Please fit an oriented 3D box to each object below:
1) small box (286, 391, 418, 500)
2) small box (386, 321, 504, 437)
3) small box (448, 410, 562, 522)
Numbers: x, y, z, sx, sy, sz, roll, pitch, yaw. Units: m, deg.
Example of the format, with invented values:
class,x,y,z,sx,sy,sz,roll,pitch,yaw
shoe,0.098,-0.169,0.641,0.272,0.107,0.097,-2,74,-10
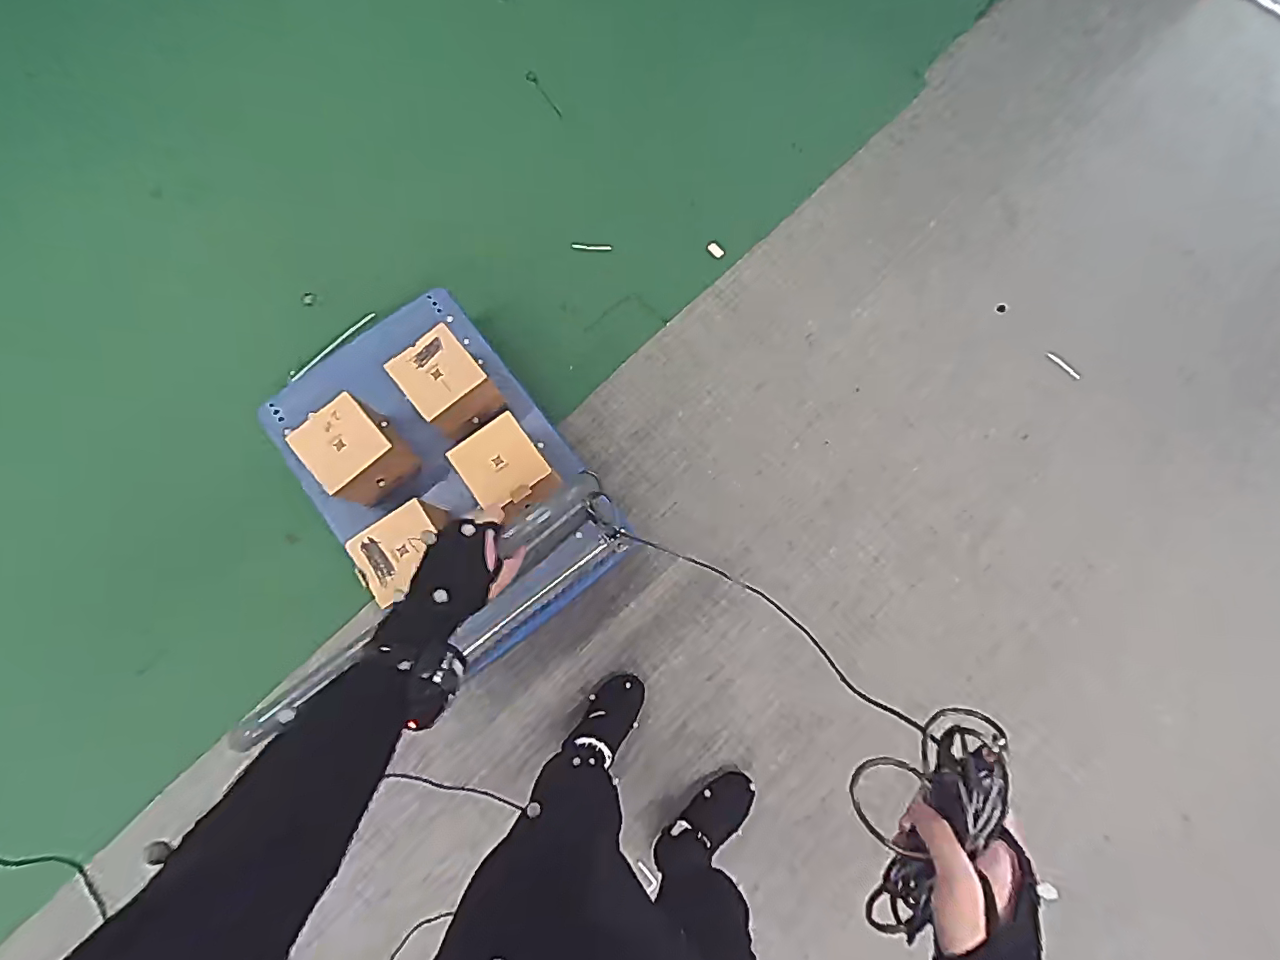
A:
class,x,y,z,sx,sy,sz,roll,pitch,yaw
small box,-0.647,-0.068,1.238,0.168,0.176,0.179,-41,81,-7
small box,-0.448,-0.228,1.266,0.168,0.176,0.179,-39,82,-6
small box,-0.297,-0.023,1.224,0.168,0.176,0.179,-36,81,-6
